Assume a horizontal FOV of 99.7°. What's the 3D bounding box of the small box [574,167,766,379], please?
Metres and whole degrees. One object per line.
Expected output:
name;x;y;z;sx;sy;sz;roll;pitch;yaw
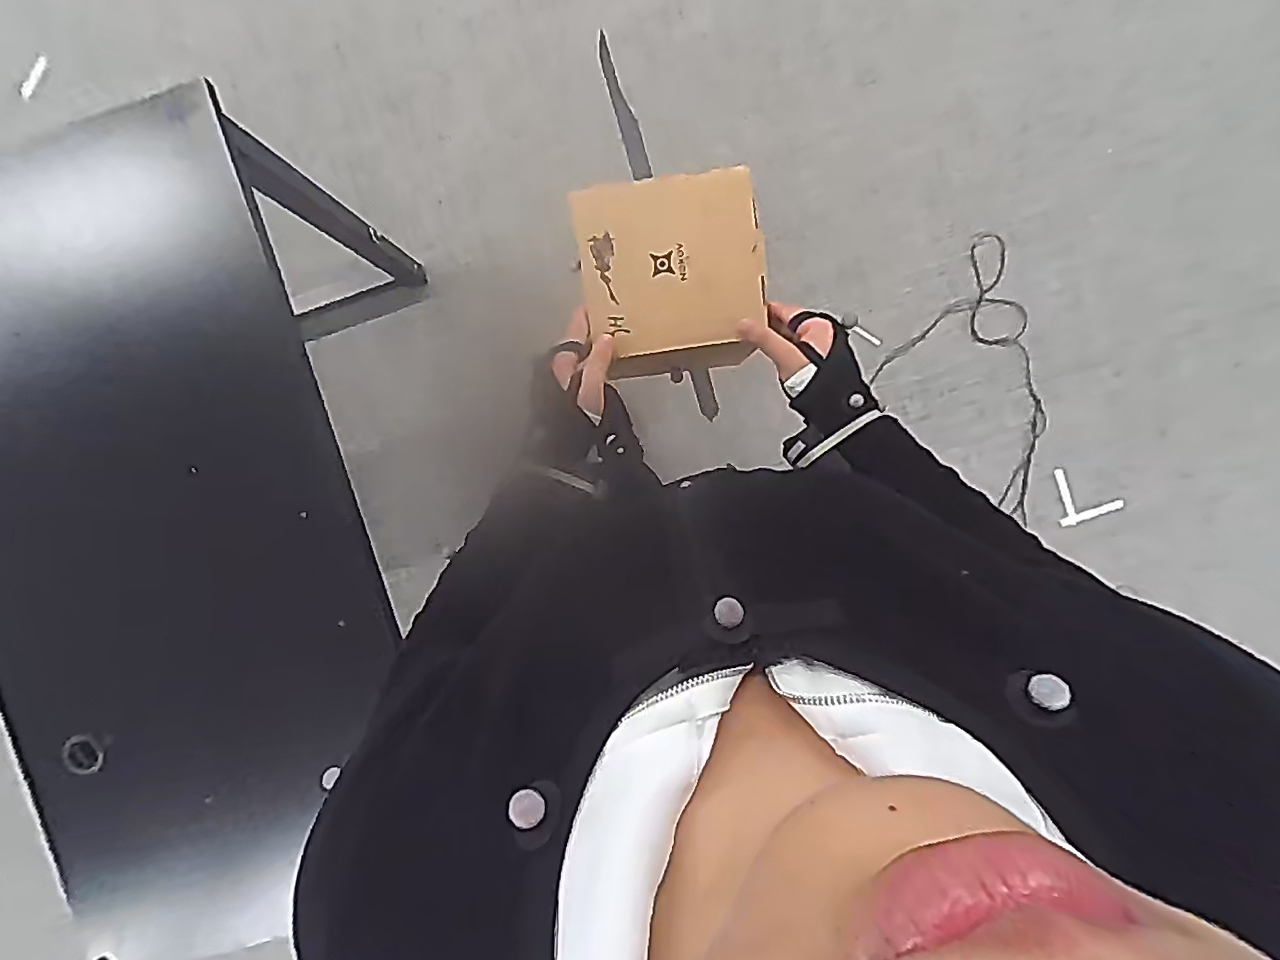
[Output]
small box;0.027;-0.214;0.600;0.179;0.176;0.168;-6;90;-1
